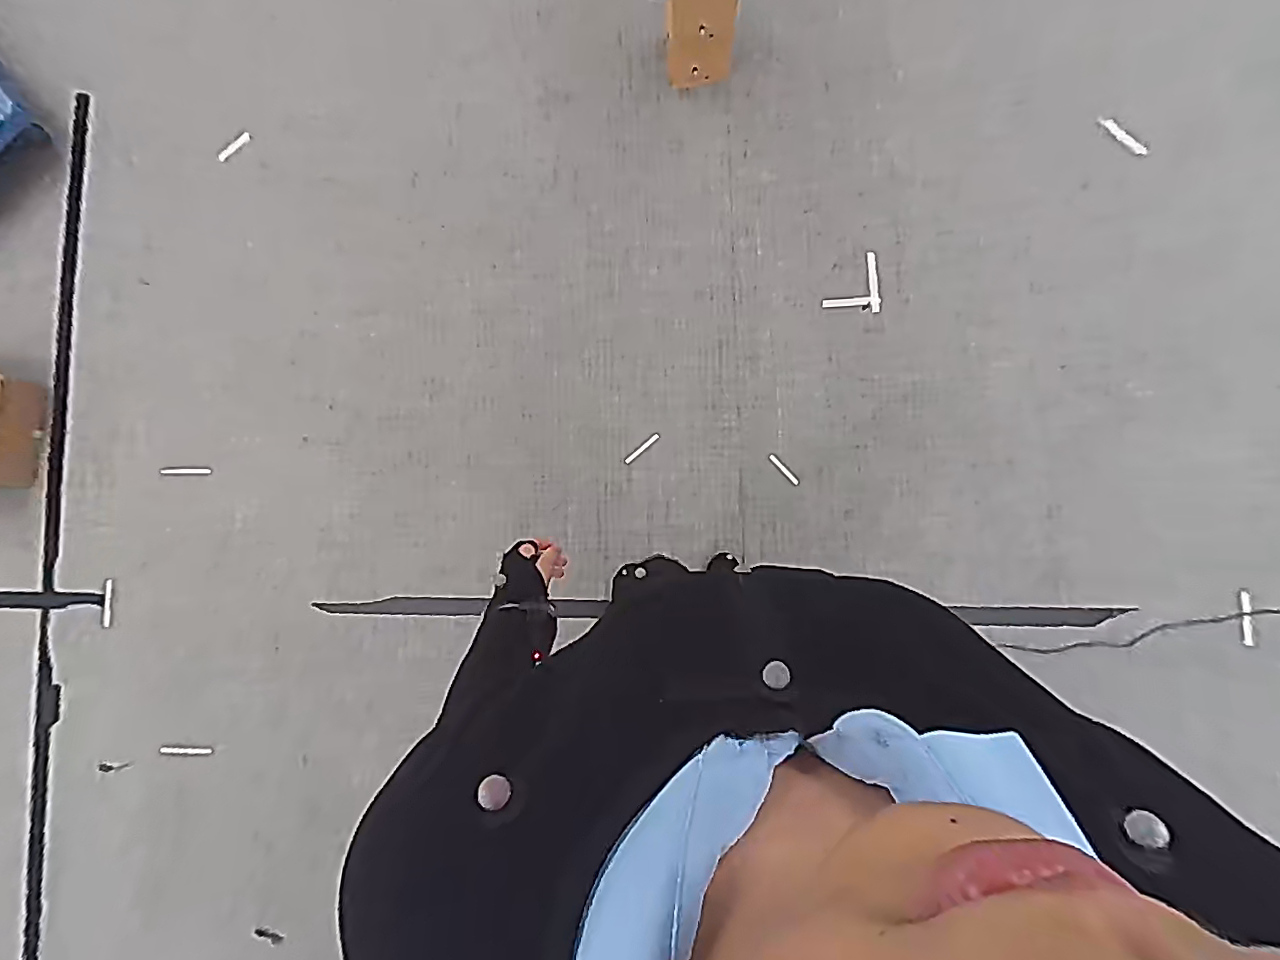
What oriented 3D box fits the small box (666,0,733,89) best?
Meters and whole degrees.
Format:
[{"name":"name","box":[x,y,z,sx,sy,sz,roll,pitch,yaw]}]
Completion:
[{"name":"small box","box":[0.162,-1.249,1.515,0.168,0.176,0.179,-7,86,4]}]
